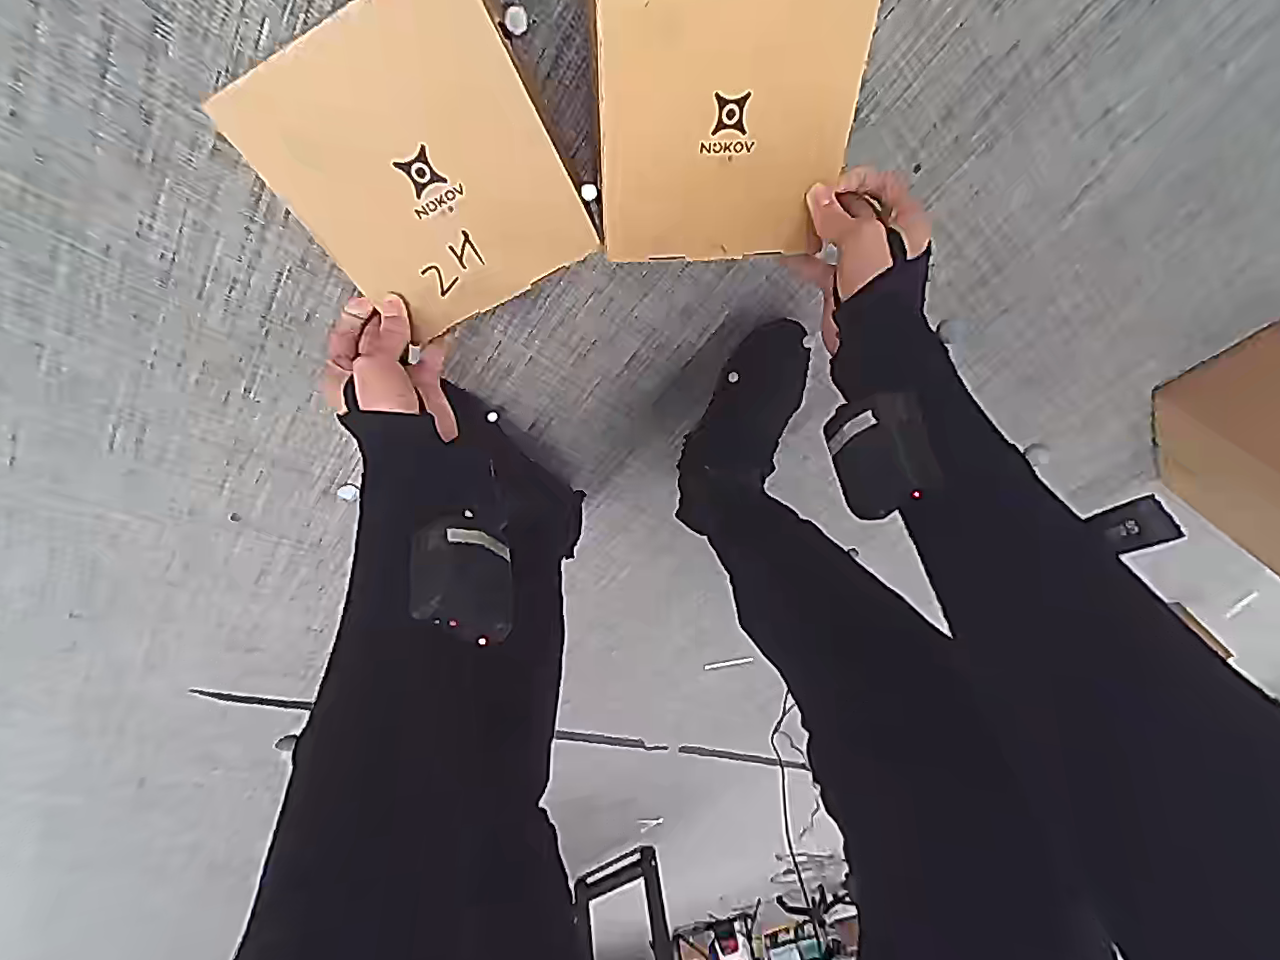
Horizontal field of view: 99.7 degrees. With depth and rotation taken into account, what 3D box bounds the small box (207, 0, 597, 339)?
[{"bbox_3d":[-0.151,-0.246,0.402,0.168,0.176,0.179,-24,134,9],"label":"small box"}]
